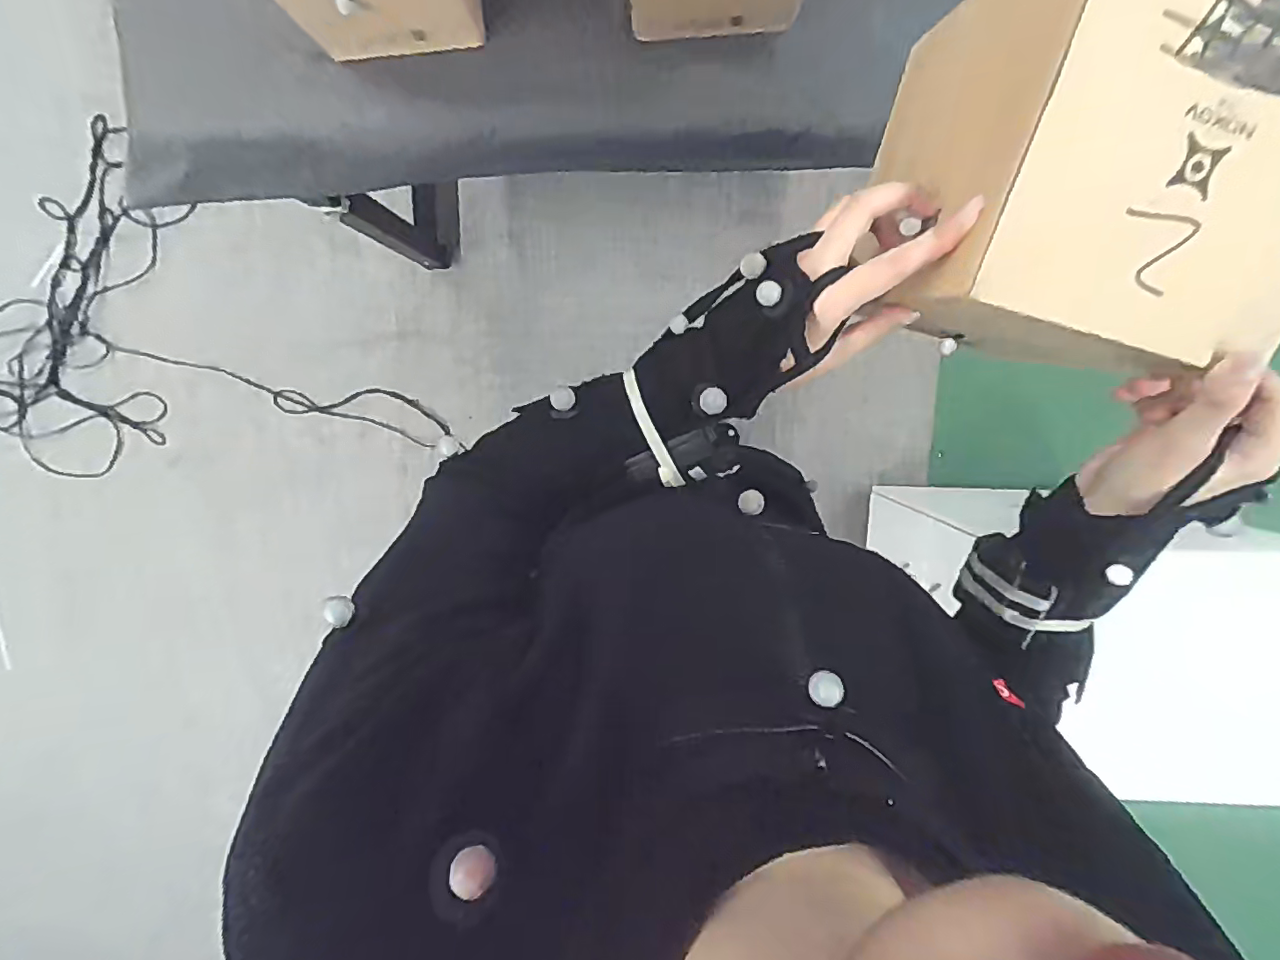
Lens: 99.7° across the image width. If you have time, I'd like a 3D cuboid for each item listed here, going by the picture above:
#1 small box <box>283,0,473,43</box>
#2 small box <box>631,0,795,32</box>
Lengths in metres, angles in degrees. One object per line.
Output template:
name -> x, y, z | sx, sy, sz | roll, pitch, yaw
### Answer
small box -> -0.258, -0.527, 0.478 | 0.168, 0.176, 0.179 | -3, 99, 0
small box -> 0.068, -0.540, 0.467 | 0.168, 0.176, 0.179 | -2, 98, 1
